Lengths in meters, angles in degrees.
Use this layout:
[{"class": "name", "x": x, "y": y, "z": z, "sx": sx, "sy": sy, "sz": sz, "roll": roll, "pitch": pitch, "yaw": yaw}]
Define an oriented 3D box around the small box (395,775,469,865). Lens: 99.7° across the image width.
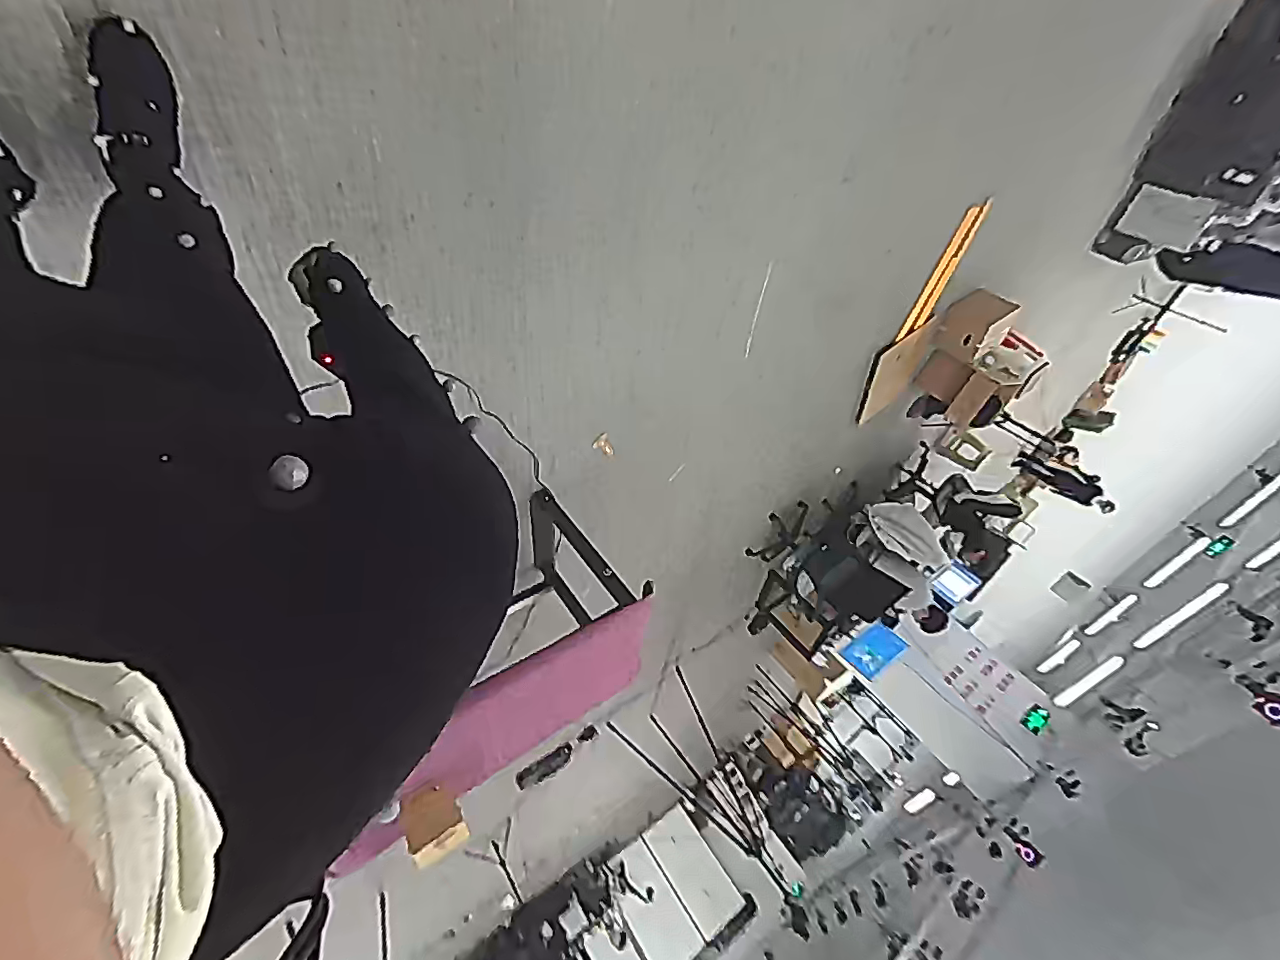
[{"class": "small box", "x": -0.676, "y": 1.099, "z": 1.760, "sx": 0.168, "sy": 0.176, "sz": 0.179, "roll": -23, "pitch": 142, "yaw": -29}]
